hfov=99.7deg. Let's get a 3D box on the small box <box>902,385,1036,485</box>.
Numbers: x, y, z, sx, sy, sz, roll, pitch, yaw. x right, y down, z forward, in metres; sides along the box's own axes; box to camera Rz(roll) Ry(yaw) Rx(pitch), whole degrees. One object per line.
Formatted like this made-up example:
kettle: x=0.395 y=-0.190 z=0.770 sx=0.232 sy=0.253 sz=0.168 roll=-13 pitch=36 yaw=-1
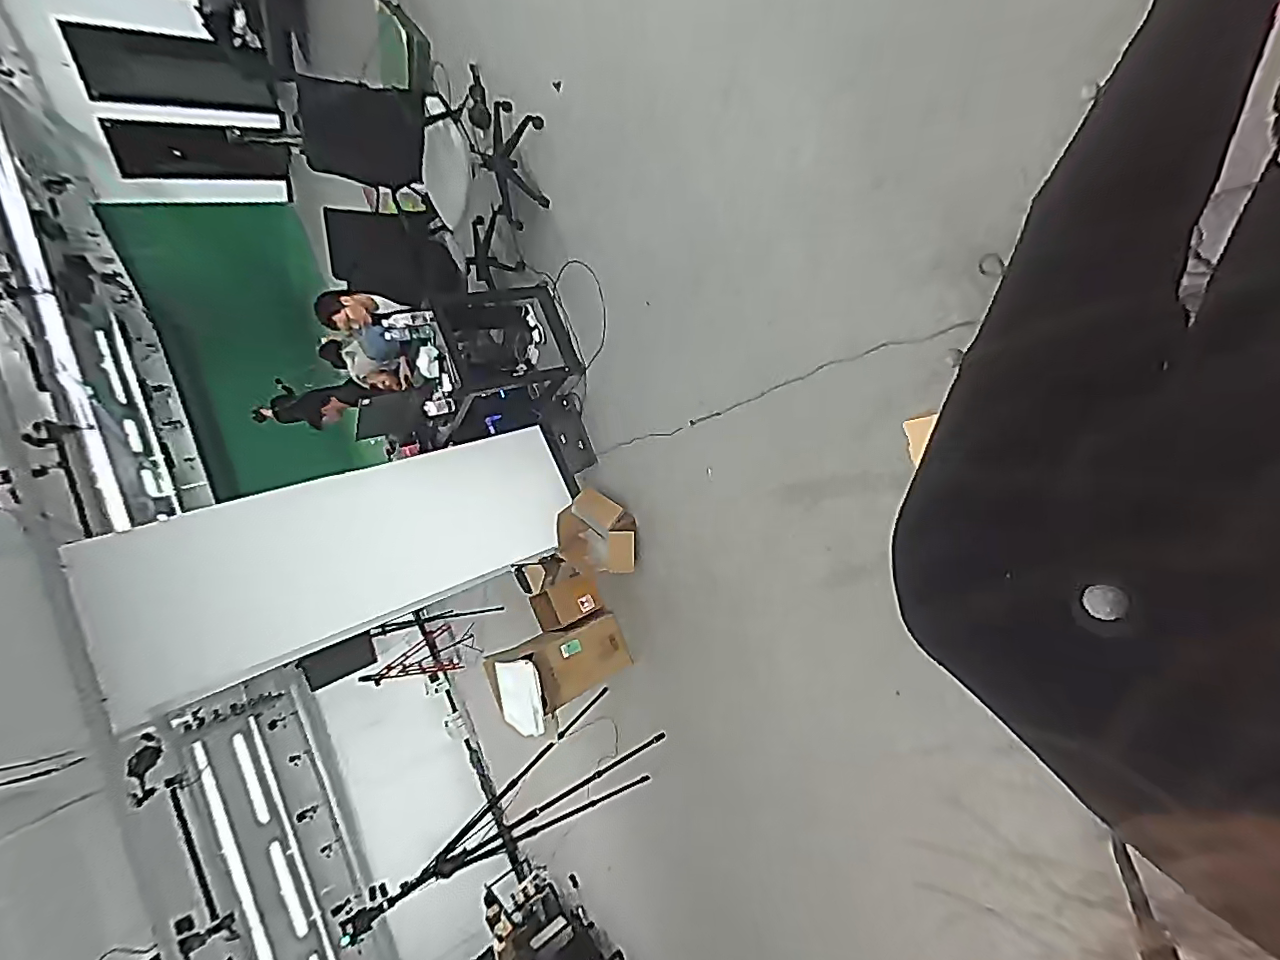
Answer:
small box: x=0.722 y=-0.097 z=1.189 sx=0.179 sy=0.176 sz=0.168 roll=-13 pitch=96 yaw=58
